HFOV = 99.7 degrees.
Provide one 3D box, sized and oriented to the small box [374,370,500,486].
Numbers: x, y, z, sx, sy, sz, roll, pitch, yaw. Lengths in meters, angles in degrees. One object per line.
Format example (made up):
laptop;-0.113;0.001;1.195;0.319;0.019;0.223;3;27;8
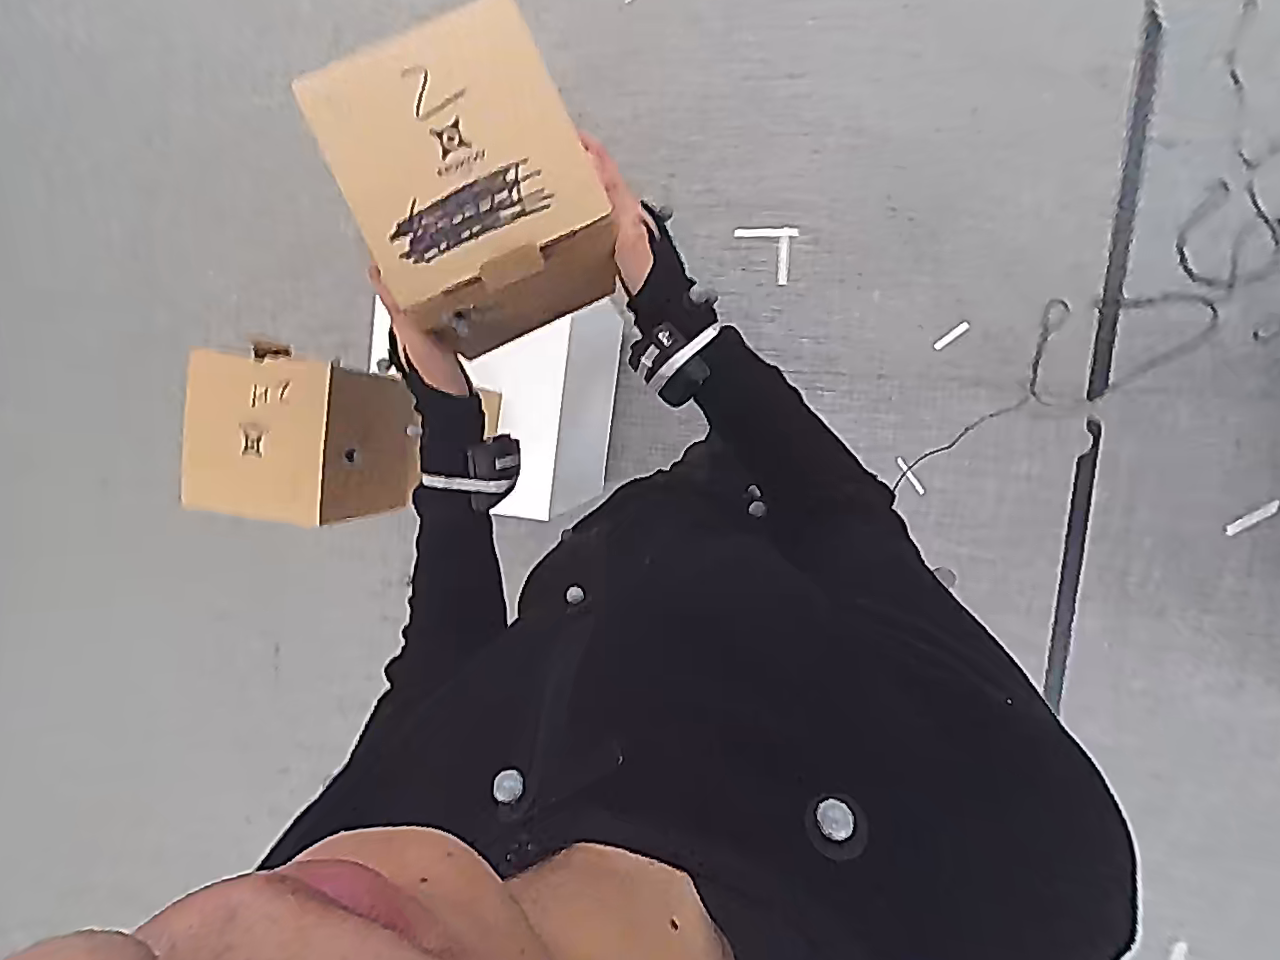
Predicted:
small box;-0.365;-0.091;0.975;0.168;0.176;0.179;8;93;6

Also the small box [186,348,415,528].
small box;-0.393;-0.050;0.651;0.168;0.176;0.179;7;94;6

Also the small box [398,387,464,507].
small box;-0.387;-0.063;0.816;0.179;0.176;0.168;10;95;7
